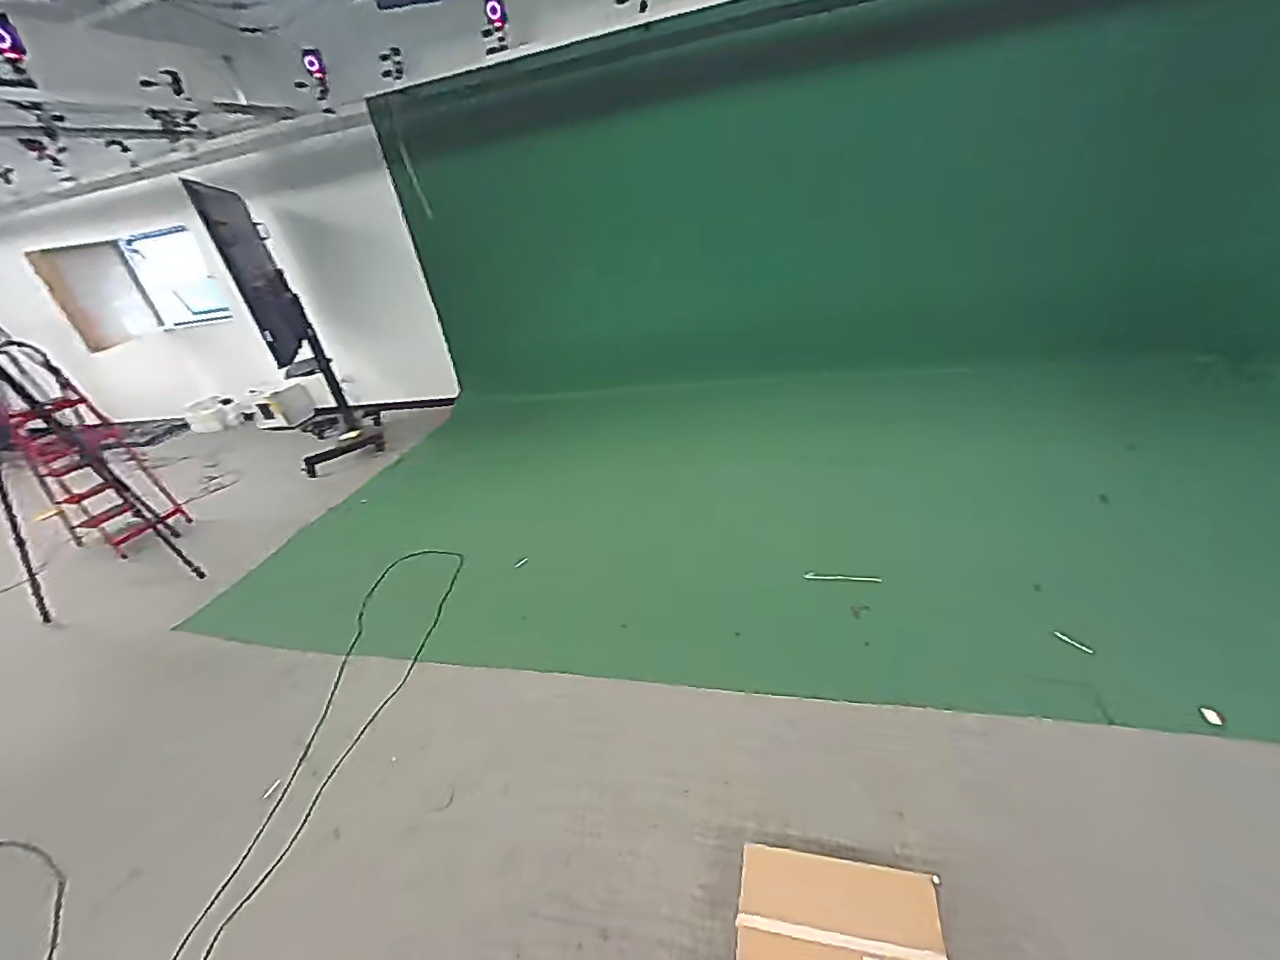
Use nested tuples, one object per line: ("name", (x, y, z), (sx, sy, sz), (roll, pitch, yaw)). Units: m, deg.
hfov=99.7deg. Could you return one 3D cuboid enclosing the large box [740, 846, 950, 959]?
("large box", (0.429, 1.062, 1.163), (0.408, 0.320, 0.320), (-1, 30, 17))
